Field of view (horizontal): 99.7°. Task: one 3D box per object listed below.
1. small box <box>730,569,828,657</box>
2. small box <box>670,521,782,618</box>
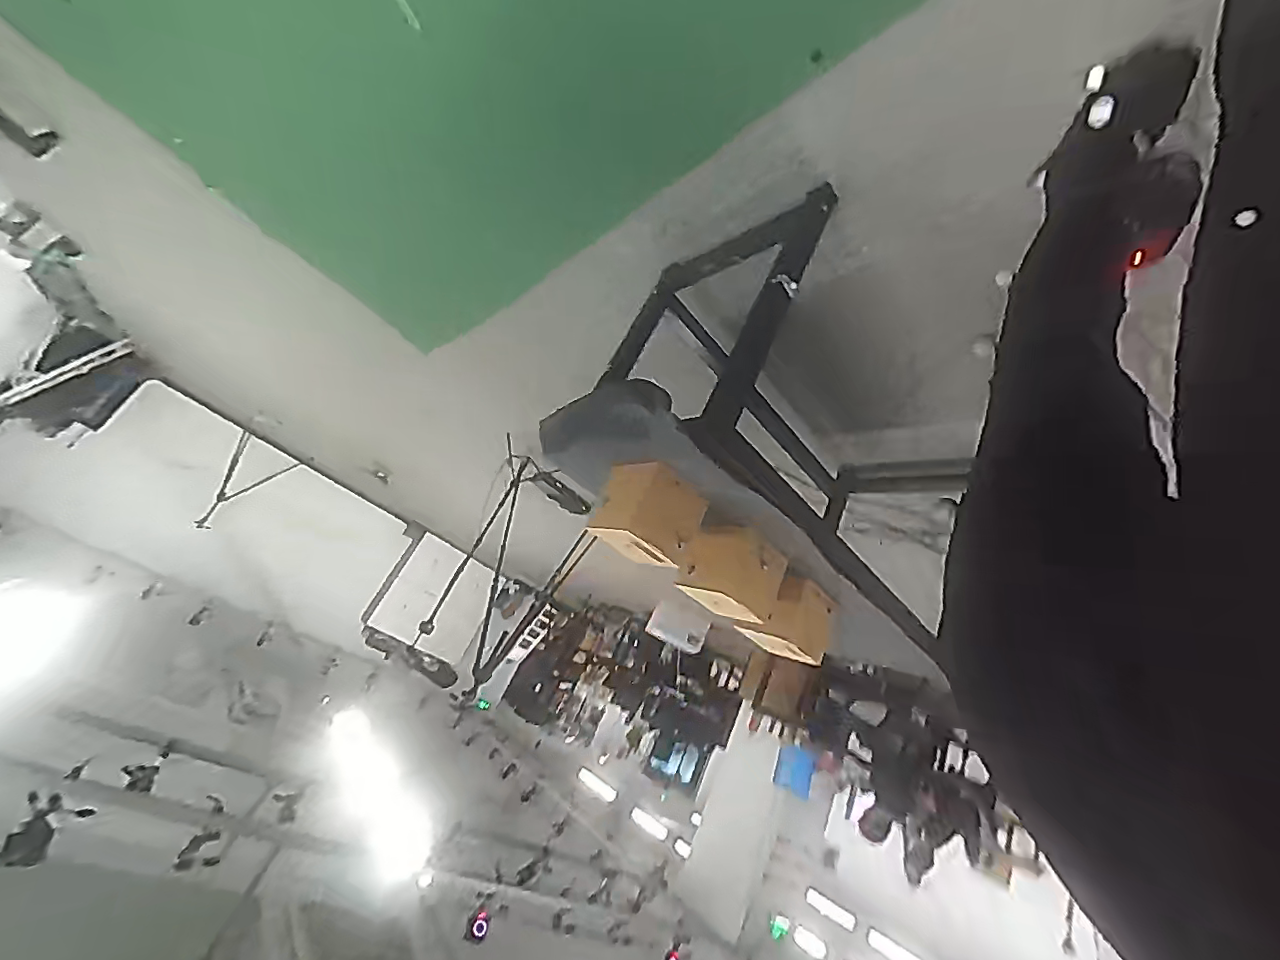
[{"bbox_3d":[0.376,0.342,1.429,0.168,0.176,0.179,40,156,-31],"label":"small box"},{"bbox_3d":[0.211,0.209,1.309,0.168,0.176,0.179,39,156,-29],"label":"small box"}]
